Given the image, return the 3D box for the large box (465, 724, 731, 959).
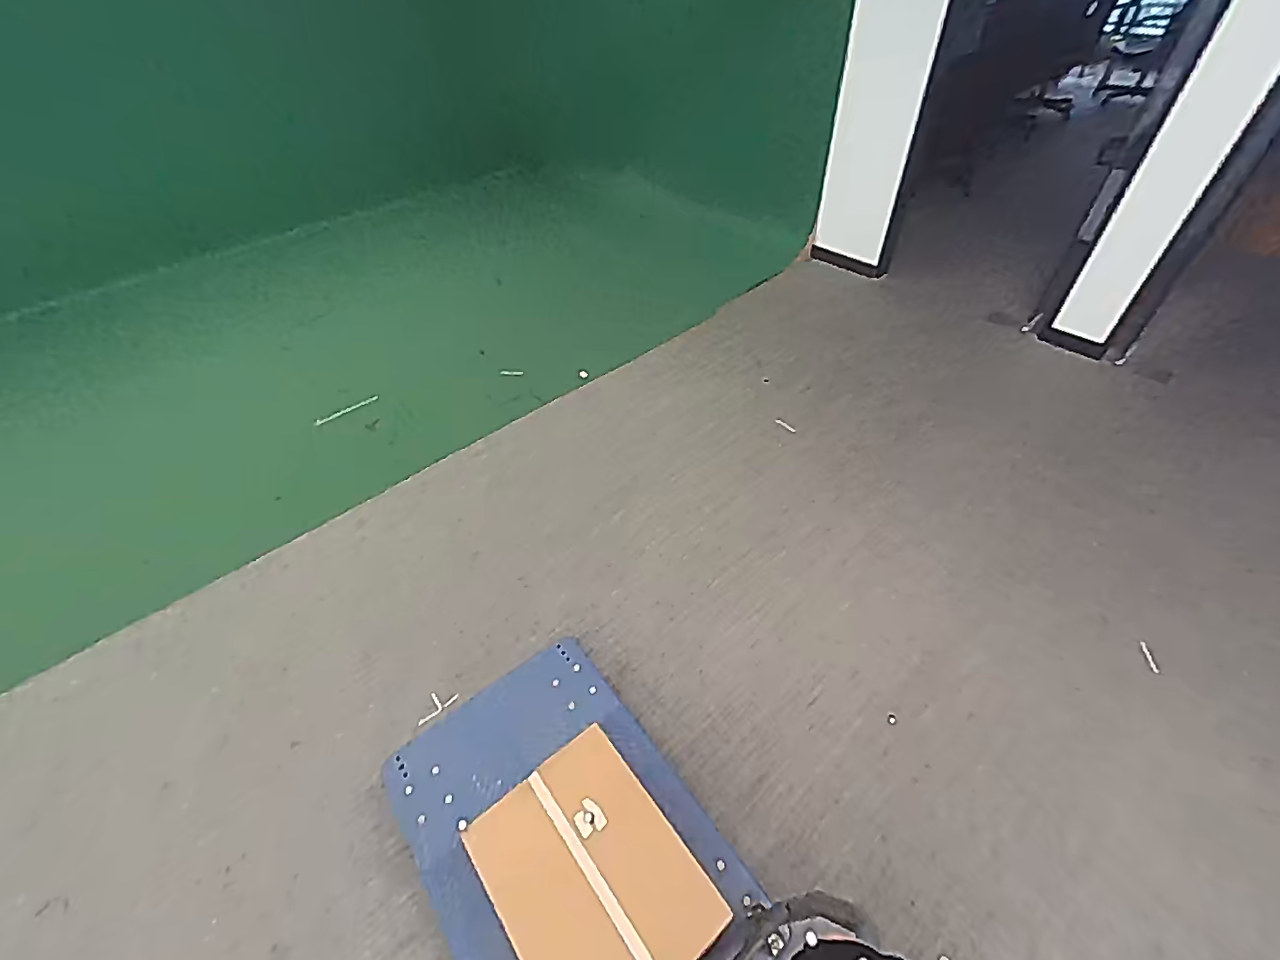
[{"bbox_3d":[-0.074,0.784,1.058,0.320,0.320,0.408,-31,52,-24],"label":"large box"}]
